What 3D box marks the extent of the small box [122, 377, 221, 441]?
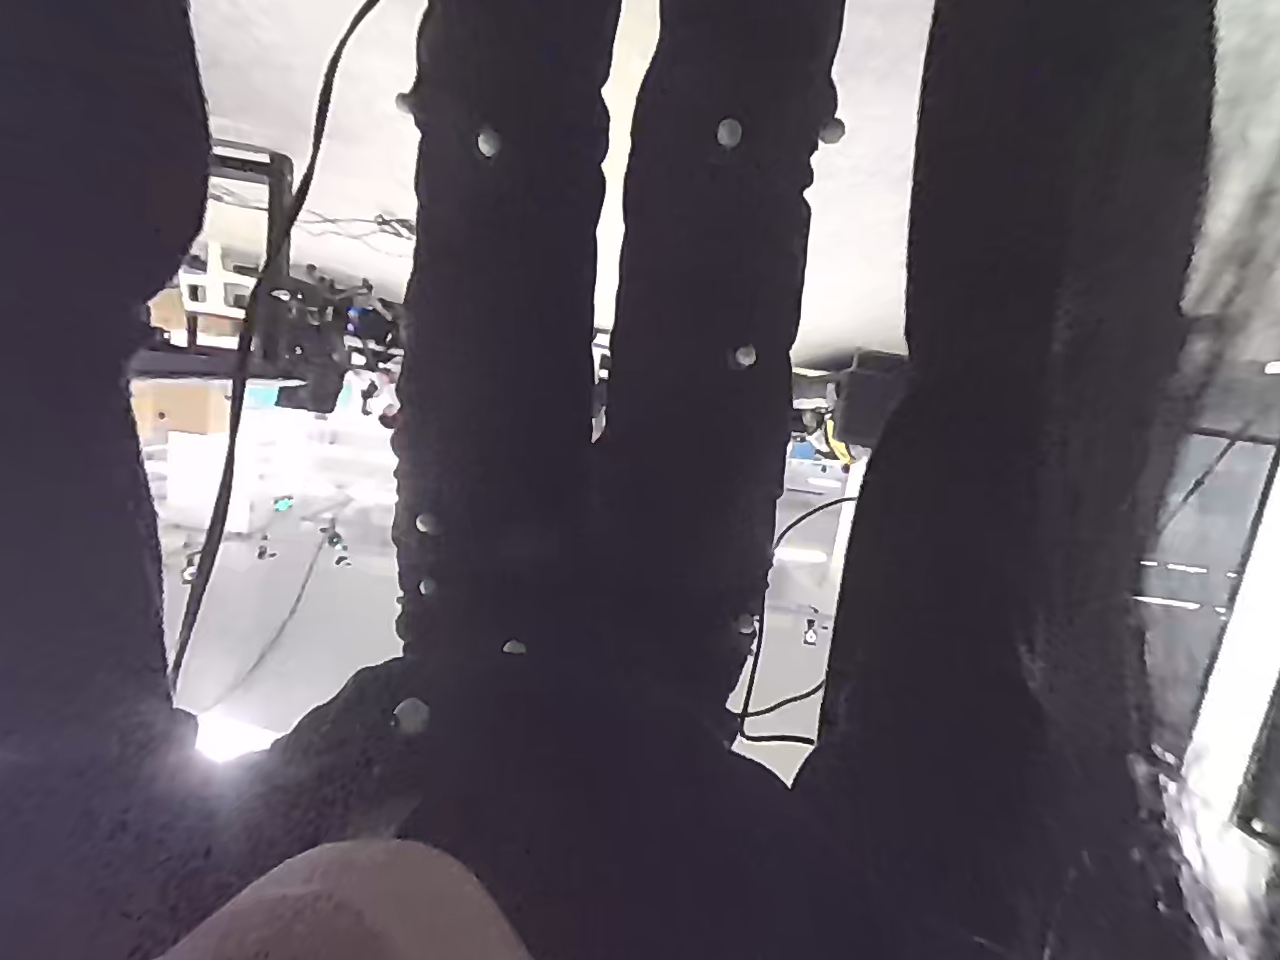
[{"bbox_3d":[-1.401,-0.217,1.622,0.179,0.176,0.168,7,-172,-8],"label":"small box"}]
